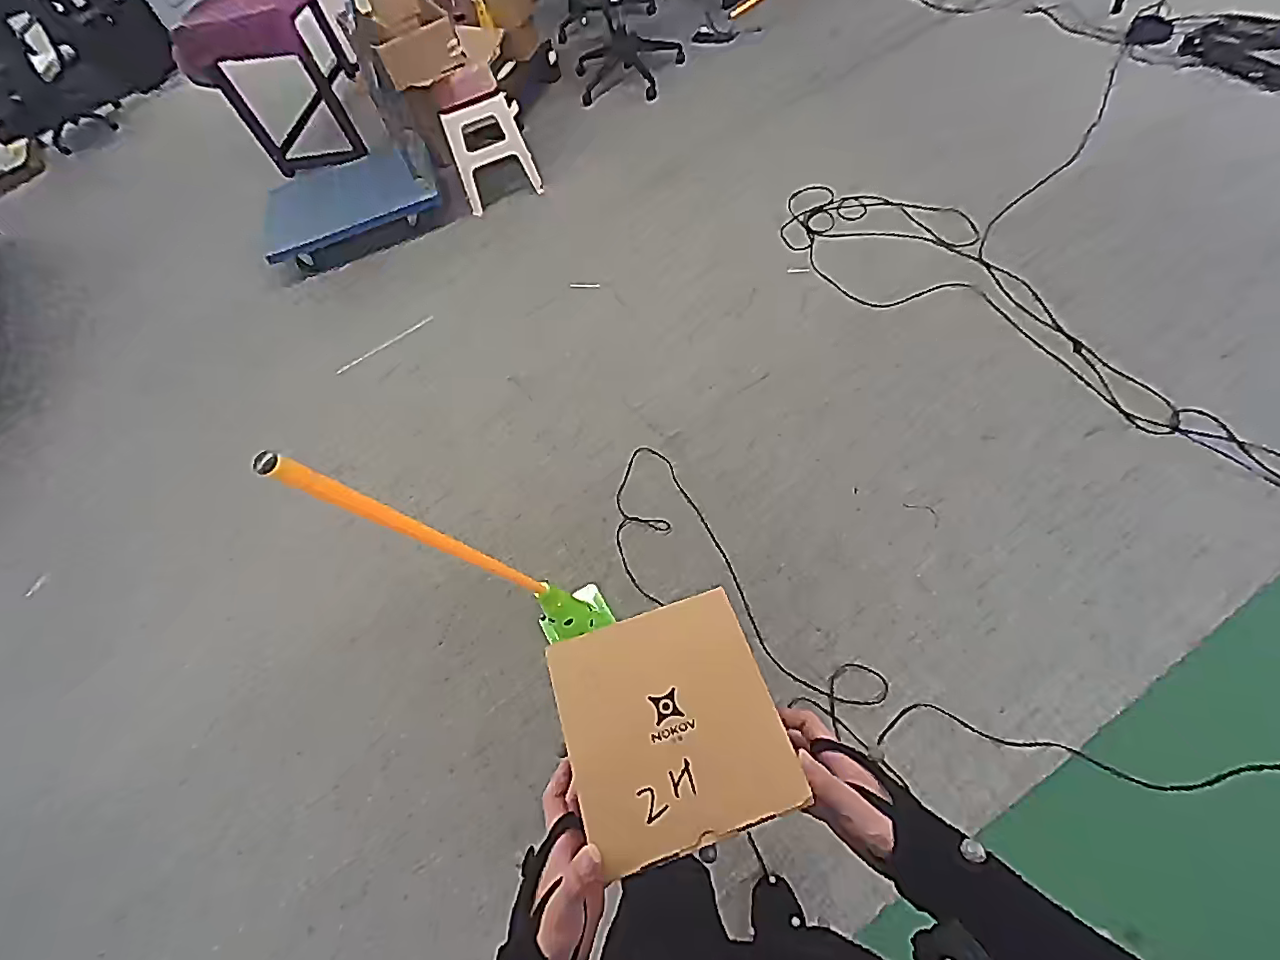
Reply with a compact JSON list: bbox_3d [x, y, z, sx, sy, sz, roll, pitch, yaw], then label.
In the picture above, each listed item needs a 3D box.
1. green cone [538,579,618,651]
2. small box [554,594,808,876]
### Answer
[{"bbox_3d":[-0.205,0.349,1.459,0.202,0.368,0.200,-31,61,-8],"label":"green cone"},{"bbox_3d":[0.029,0.234,0.501,0.168,0.176,0.179,-17,59,-5],"label":"small box"}]
